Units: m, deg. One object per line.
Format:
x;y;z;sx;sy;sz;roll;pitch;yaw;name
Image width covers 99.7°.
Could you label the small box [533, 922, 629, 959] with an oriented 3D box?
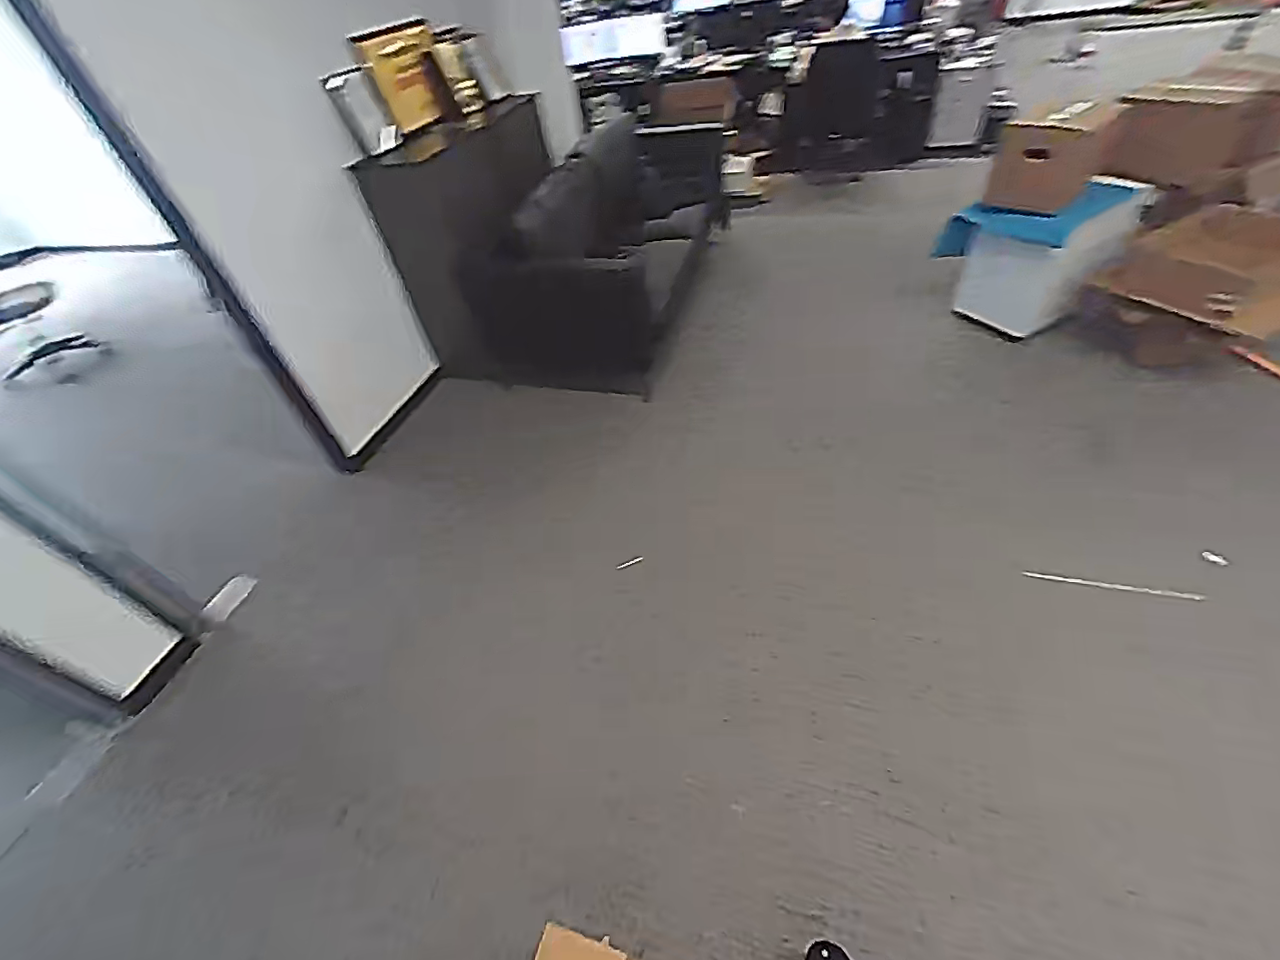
-0.120;0.977;1.018;0.168;0.176;0.179;7;47;17;small box
